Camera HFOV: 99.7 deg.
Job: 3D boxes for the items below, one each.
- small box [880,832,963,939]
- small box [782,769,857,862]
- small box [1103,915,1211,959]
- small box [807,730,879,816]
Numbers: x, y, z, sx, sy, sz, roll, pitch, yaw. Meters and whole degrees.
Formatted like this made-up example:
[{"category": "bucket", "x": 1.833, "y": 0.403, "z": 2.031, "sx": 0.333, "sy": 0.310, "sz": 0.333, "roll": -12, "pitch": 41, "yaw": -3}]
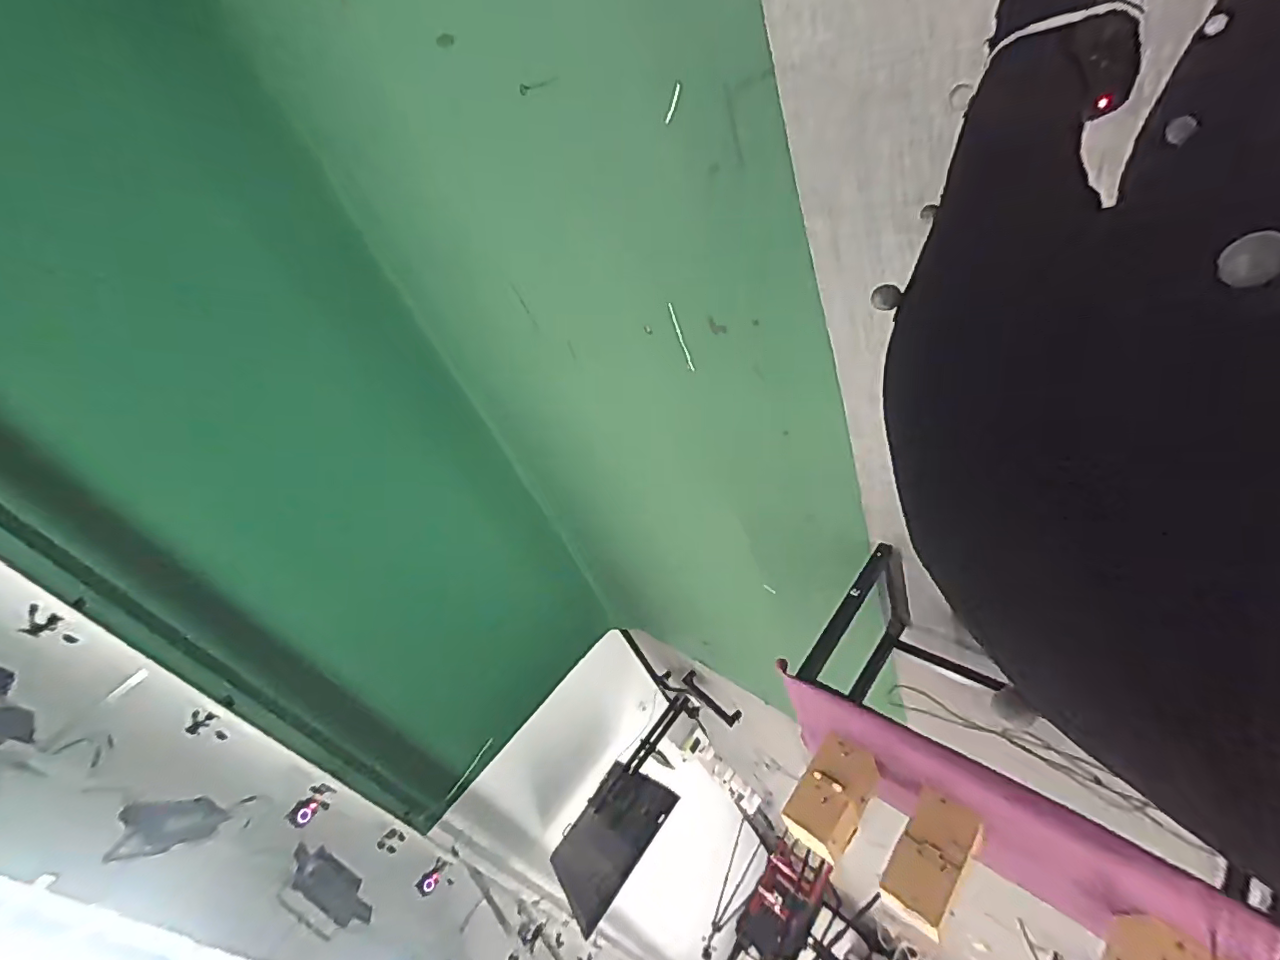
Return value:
[{"category": "small box", "x": 0.825, "y": 1.178, "z": 1.581, "sx": 0.168, "sy": 0.176, "sz": 0.179, "roll": 17, "pitch": 144, "yaw": 44}, {"category": "small box", "x": 0.608, "y": 1.121, "z": 1.815, "sx": 0.168, "sy": 0.176, "sz": 0.179, "roll": 15, "pitch": 140, "yaw": 46}, {"category": "small box", "x": 1.267, "y": 1.201, "z": 1.314, "sx": 0.168, "sy": 0.176, "sz": 0.179, "roll": 30, "pitch": 151, "yaw": 28}, {"category": "small box", "x": 0.711, "y": 1.014, "z": 1.882, "sx": 0.168, "sy": 0.176, "sz": 0.179, "roll": 13, "pitch": 140, "yaw": 46}]
